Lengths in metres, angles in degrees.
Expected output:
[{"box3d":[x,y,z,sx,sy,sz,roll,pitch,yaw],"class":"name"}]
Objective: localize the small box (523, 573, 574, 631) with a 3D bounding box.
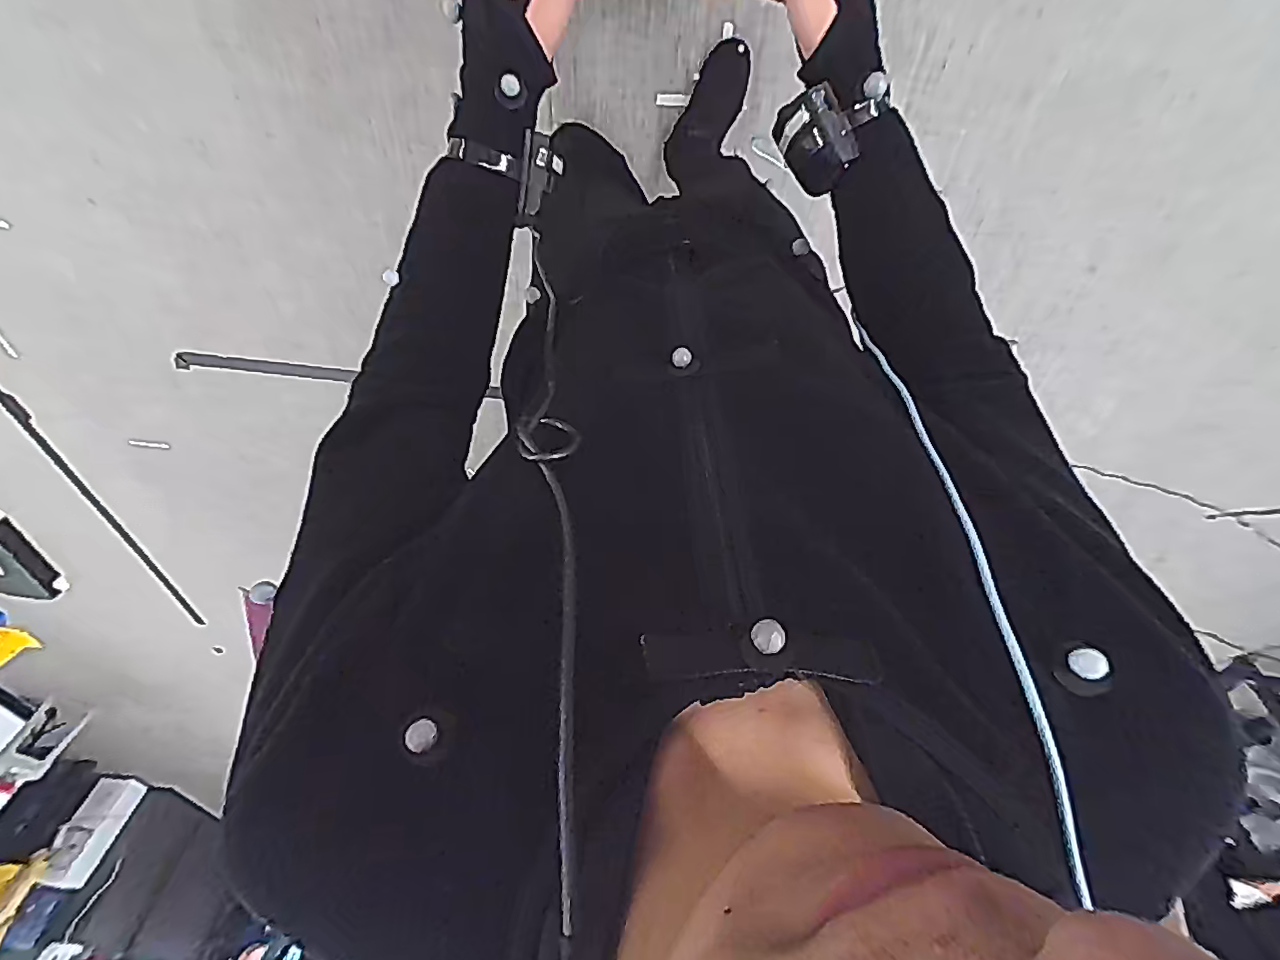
[{"box3d":[-0.375,0.502,2.244,0.179,0.176,0.168,5,133,1],"class":"small box"}]
